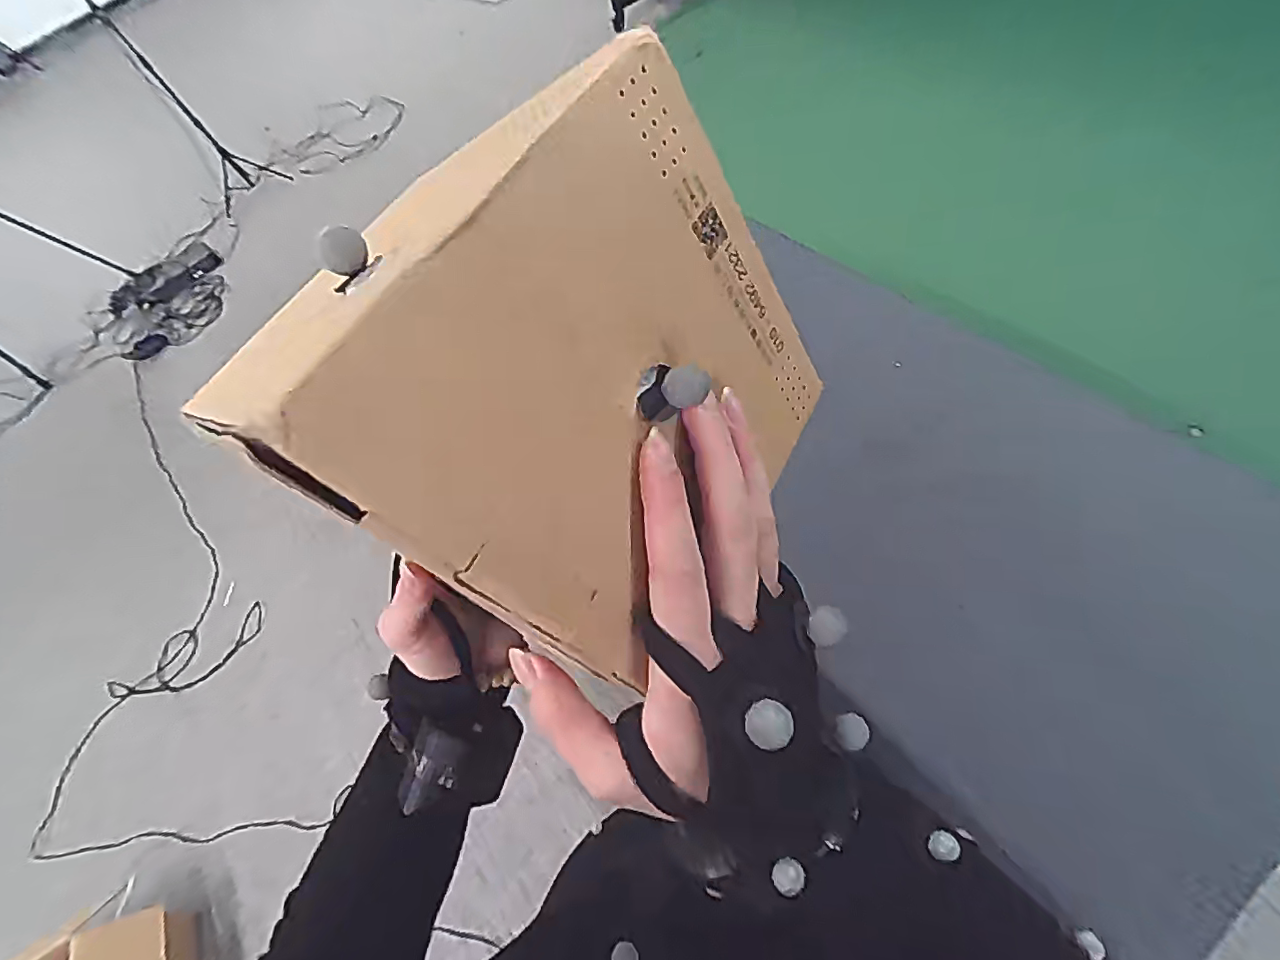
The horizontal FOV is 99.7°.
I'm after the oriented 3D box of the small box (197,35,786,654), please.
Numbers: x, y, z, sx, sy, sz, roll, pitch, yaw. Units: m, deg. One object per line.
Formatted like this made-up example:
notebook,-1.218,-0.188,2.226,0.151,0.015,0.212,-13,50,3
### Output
small box,-0.052,-0.051,0.254,0.179,0.168,0.176,8,59,45
